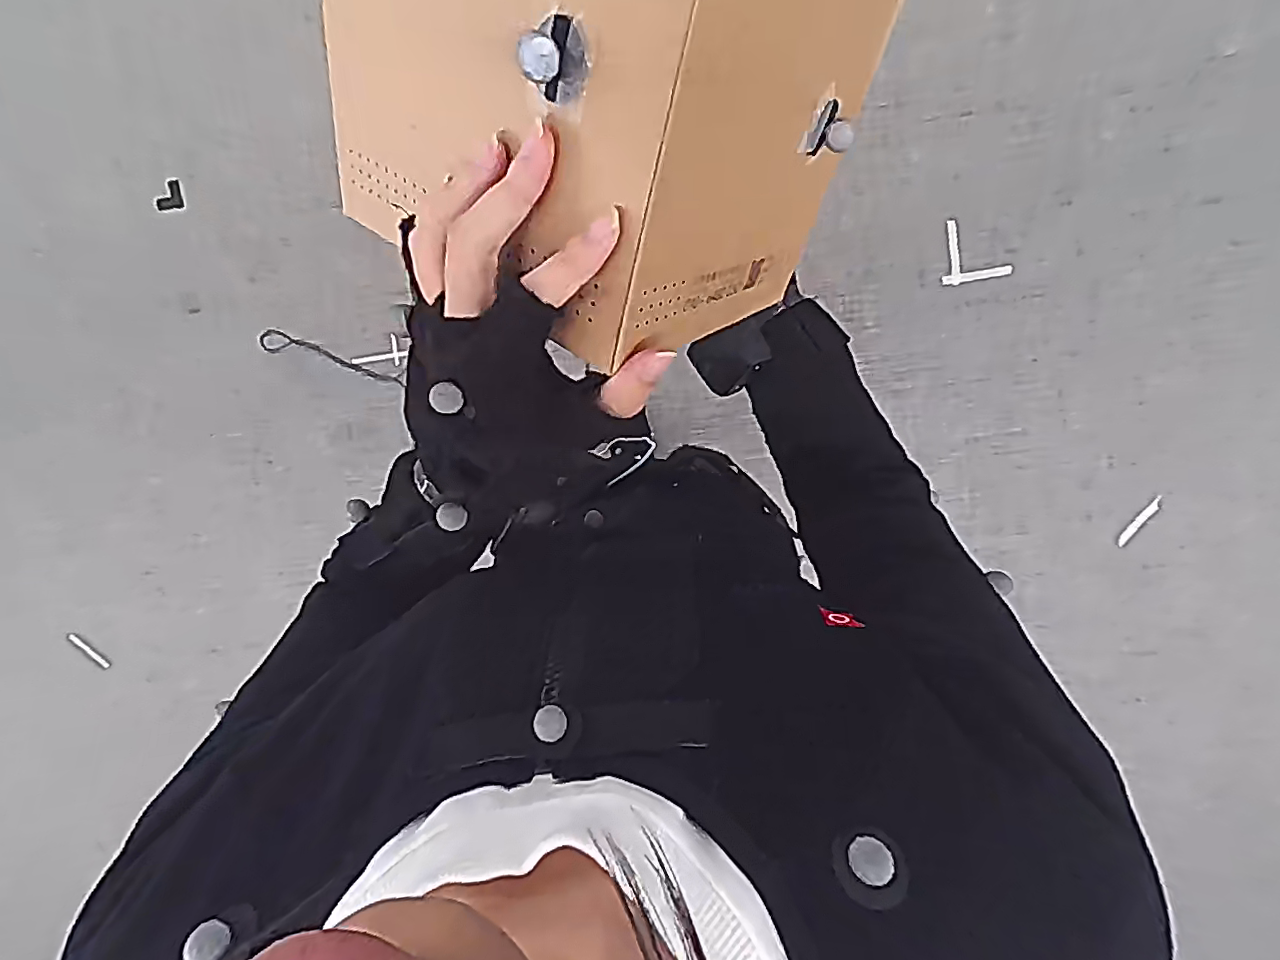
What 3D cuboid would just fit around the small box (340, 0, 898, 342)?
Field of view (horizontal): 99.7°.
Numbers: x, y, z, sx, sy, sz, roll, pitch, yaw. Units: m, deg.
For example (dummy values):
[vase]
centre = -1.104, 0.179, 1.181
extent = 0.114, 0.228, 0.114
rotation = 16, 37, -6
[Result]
[small box]
centre = -0.010, -0.178, 0.247
extent = 0.179, 0.168, 0.176
rotation = 34, 131, 20
